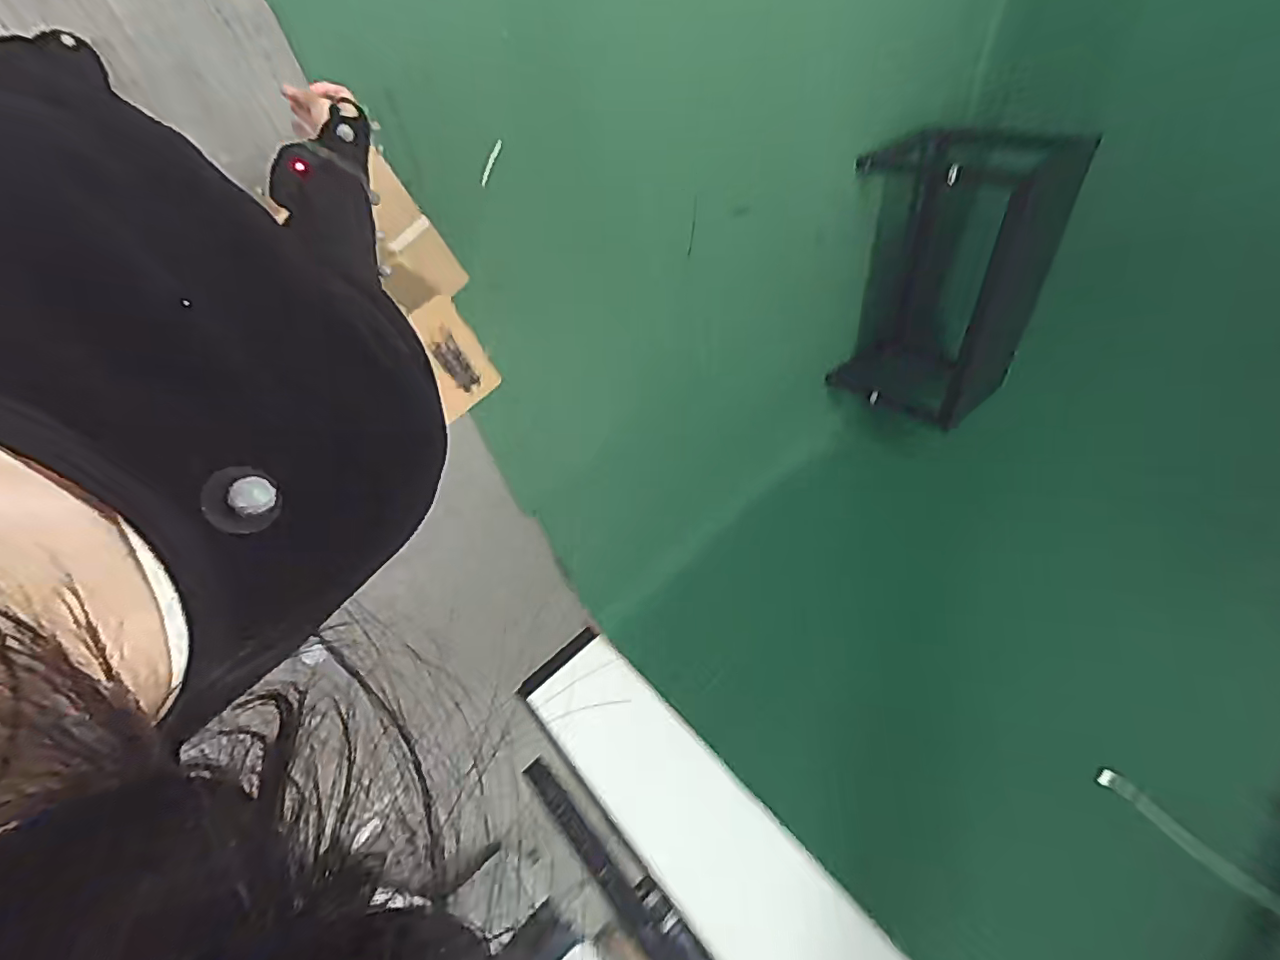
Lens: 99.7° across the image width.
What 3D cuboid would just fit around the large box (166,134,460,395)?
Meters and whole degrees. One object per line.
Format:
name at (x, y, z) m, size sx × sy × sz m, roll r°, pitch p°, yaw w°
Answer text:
large box at (-0.686, -0.464, 1.158) m, size 0.408 × 0.320 × 0.320 m, roll -47°, pitch 144°, yaw -12°

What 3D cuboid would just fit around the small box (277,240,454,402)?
small box at (-0.449, -0.267, 0.888) m, size 0.179 × 0.176 × 0.168 m, roll -41°, pitch 141°, yaw -16°
